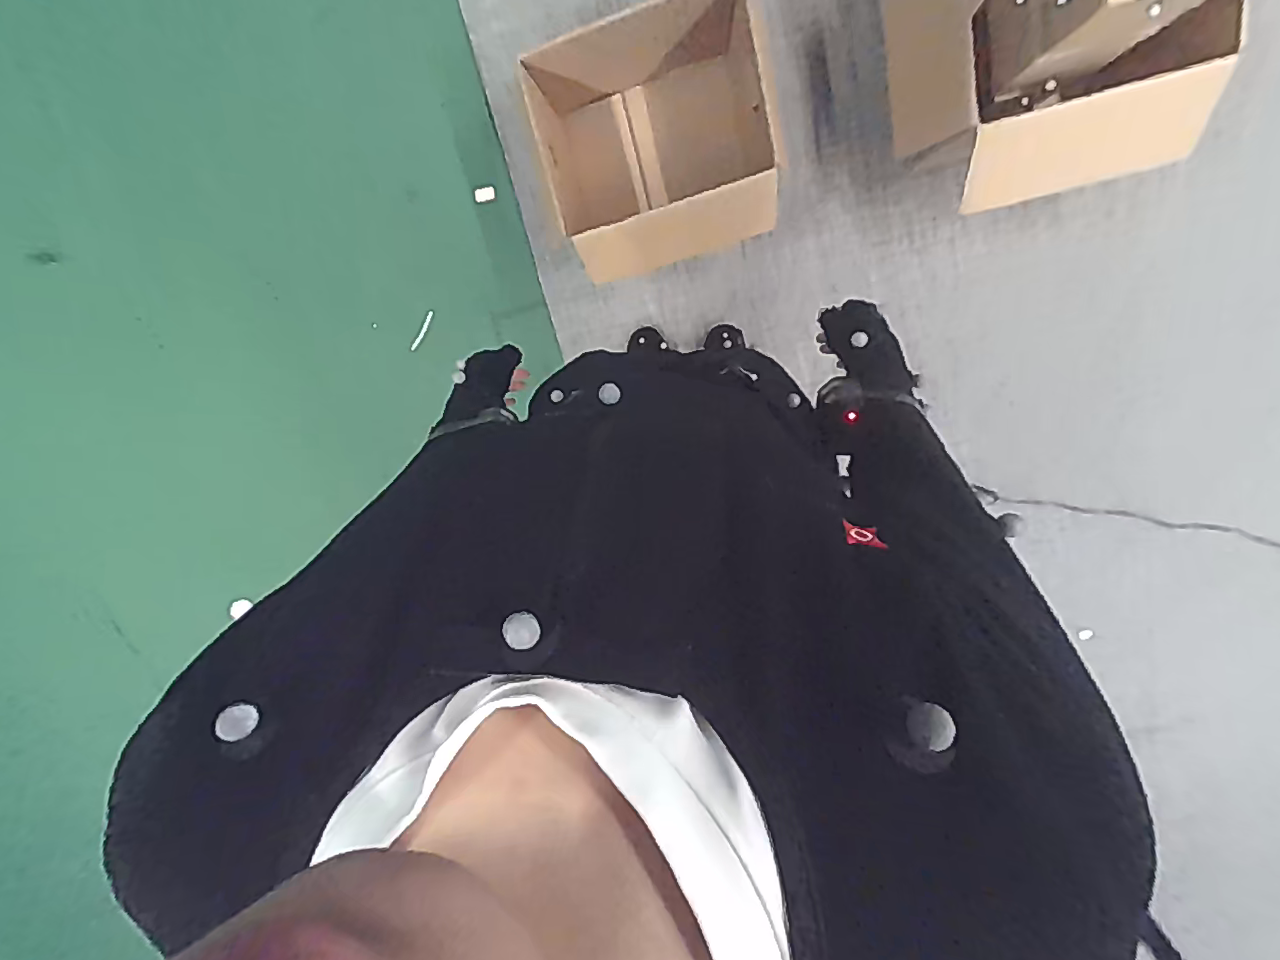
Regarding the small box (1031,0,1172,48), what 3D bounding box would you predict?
[{"bbox_3d":[0.678,-0.747,0.750,0.179,0.176,0.168,-11,107,10],"label":"small box"}]
